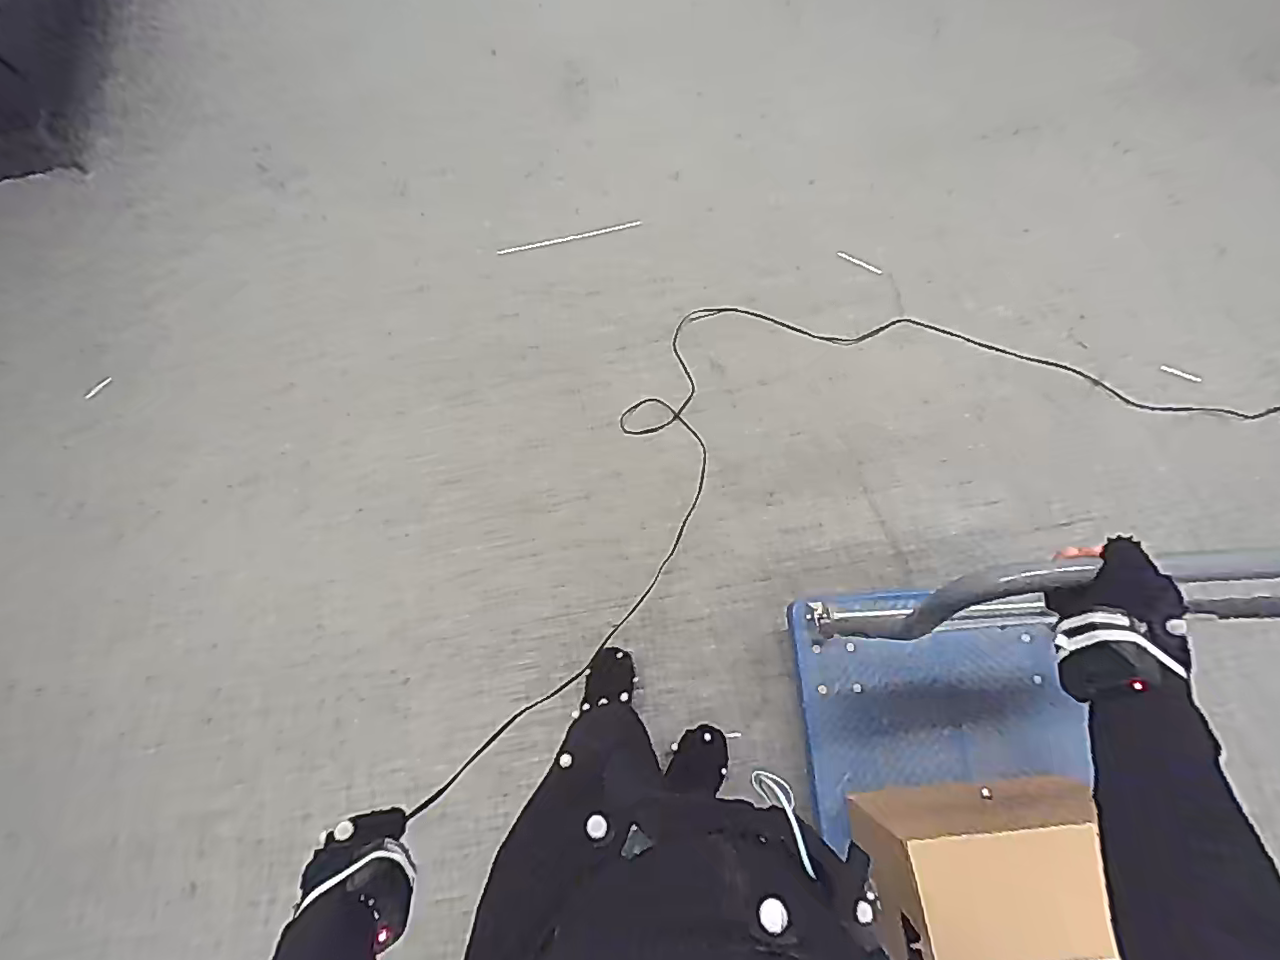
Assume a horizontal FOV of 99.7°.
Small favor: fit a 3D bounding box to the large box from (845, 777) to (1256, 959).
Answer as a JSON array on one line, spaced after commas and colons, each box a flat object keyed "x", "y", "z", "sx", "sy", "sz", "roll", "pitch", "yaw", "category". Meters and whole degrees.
[{"x": 0.593, "y": 0.677, "z": 0.835, "sx": 0.408, "sy": 0.320, "sz": 0.320, "roll": -8, "pitch": 71, "yaw": 1, "category": "large box"}]
